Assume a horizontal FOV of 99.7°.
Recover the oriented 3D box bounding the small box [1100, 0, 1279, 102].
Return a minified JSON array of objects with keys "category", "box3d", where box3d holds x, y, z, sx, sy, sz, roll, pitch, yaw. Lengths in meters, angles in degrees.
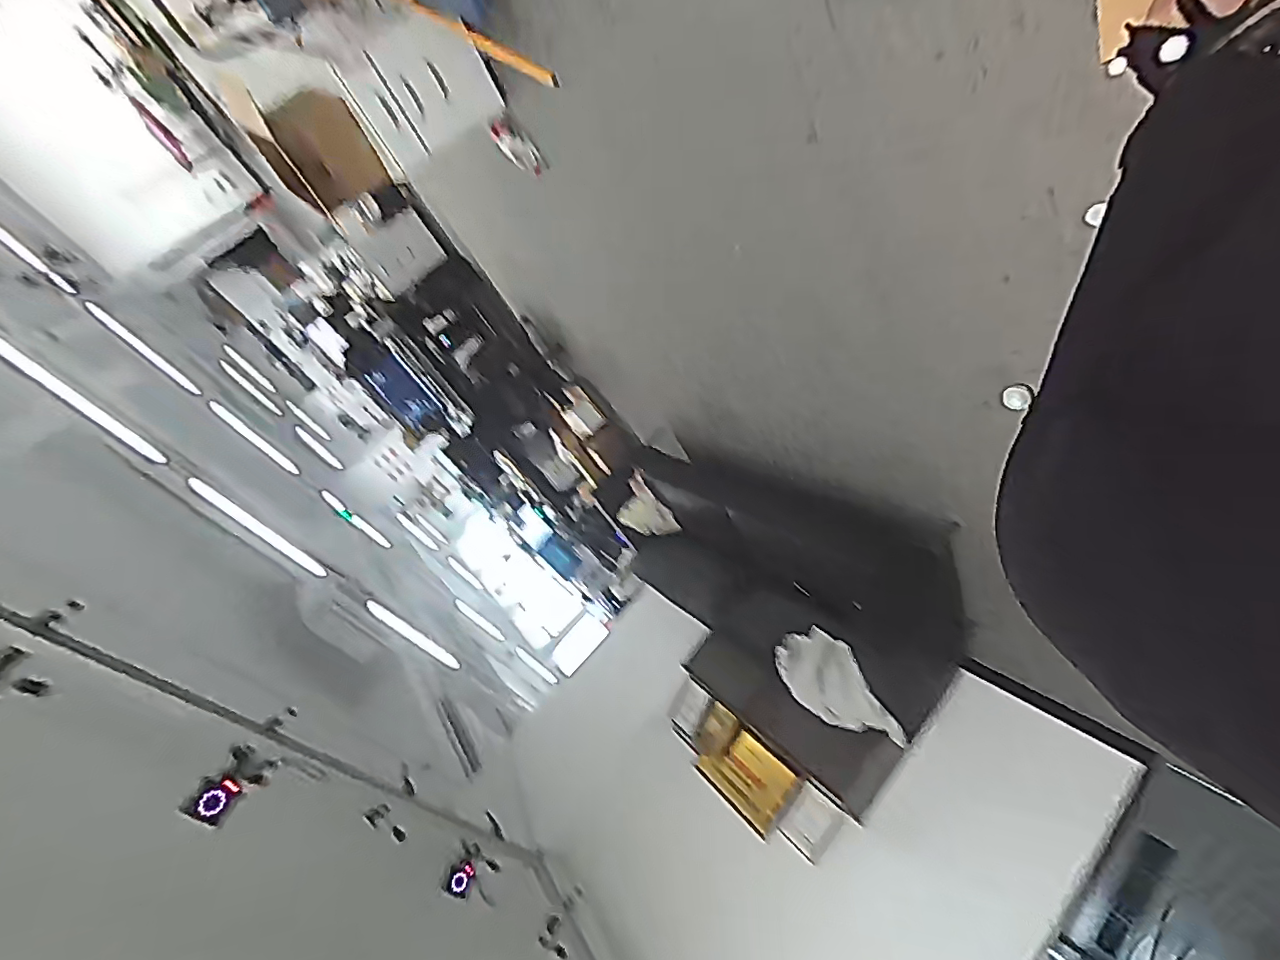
[{"category":"small box","box3d":[0.528,-0.481,0.469,0.168,0.179,0.176,1,99,59]}]
